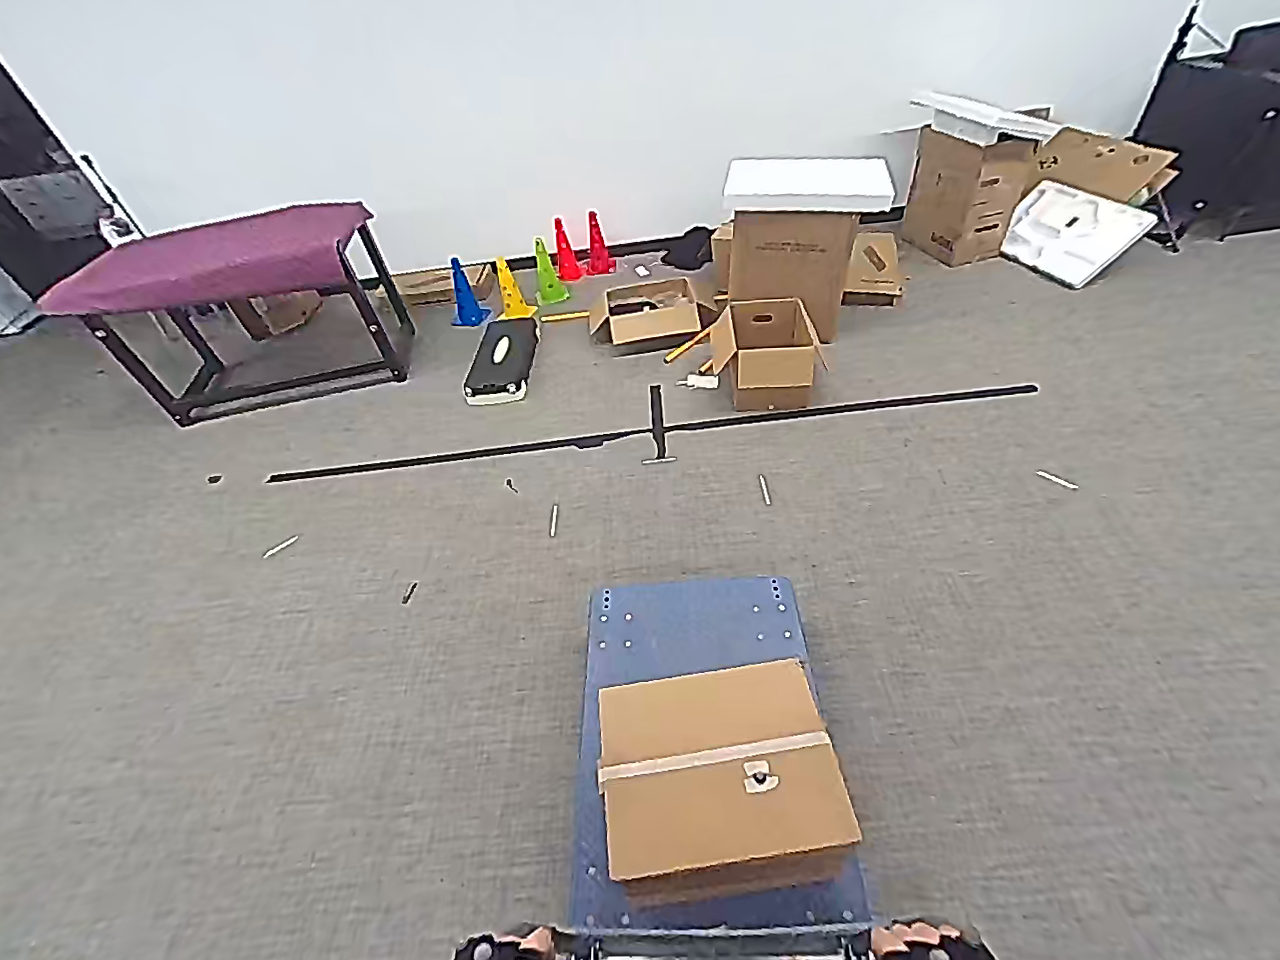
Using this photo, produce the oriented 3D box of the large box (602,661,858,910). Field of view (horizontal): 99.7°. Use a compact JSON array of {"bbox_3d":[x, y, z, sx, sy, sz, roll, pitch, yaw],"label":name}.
[{"bbox_3d":[0.152,0.604,1.071,0.408,0.320,0.320,-9,45,-1],"label":"large box"}]
